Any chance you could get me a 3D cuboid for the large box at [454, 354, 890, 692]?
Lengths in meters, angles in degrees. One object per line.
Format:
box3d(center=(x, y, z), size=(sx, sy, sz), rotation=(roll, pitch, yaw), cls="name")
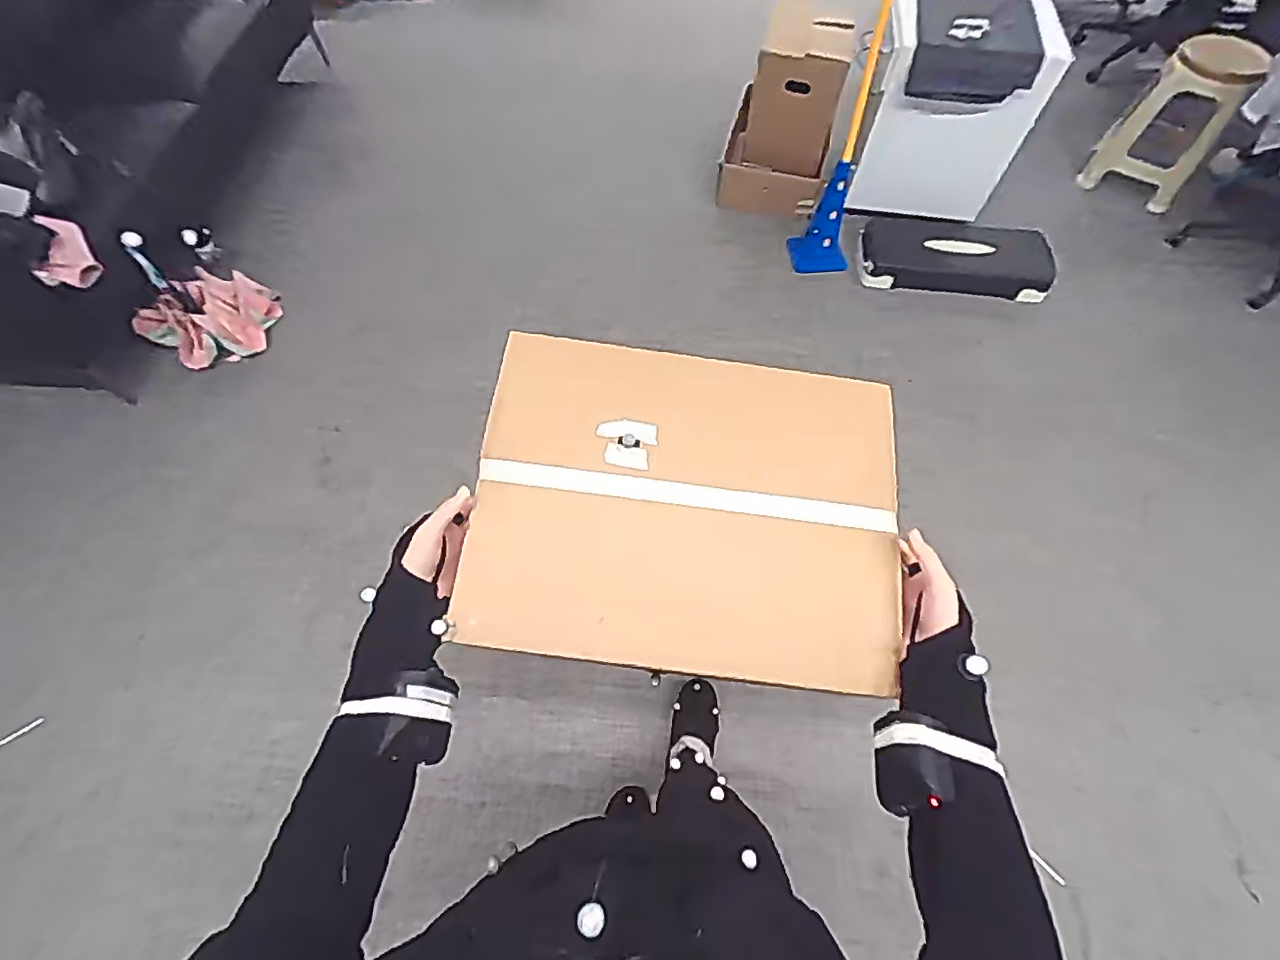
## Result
box3d(center=(0.038, 0.075, 0.674), size=(0.408, 0.320, 0.320), rotation=(7, 70, -1), cls="large box")
